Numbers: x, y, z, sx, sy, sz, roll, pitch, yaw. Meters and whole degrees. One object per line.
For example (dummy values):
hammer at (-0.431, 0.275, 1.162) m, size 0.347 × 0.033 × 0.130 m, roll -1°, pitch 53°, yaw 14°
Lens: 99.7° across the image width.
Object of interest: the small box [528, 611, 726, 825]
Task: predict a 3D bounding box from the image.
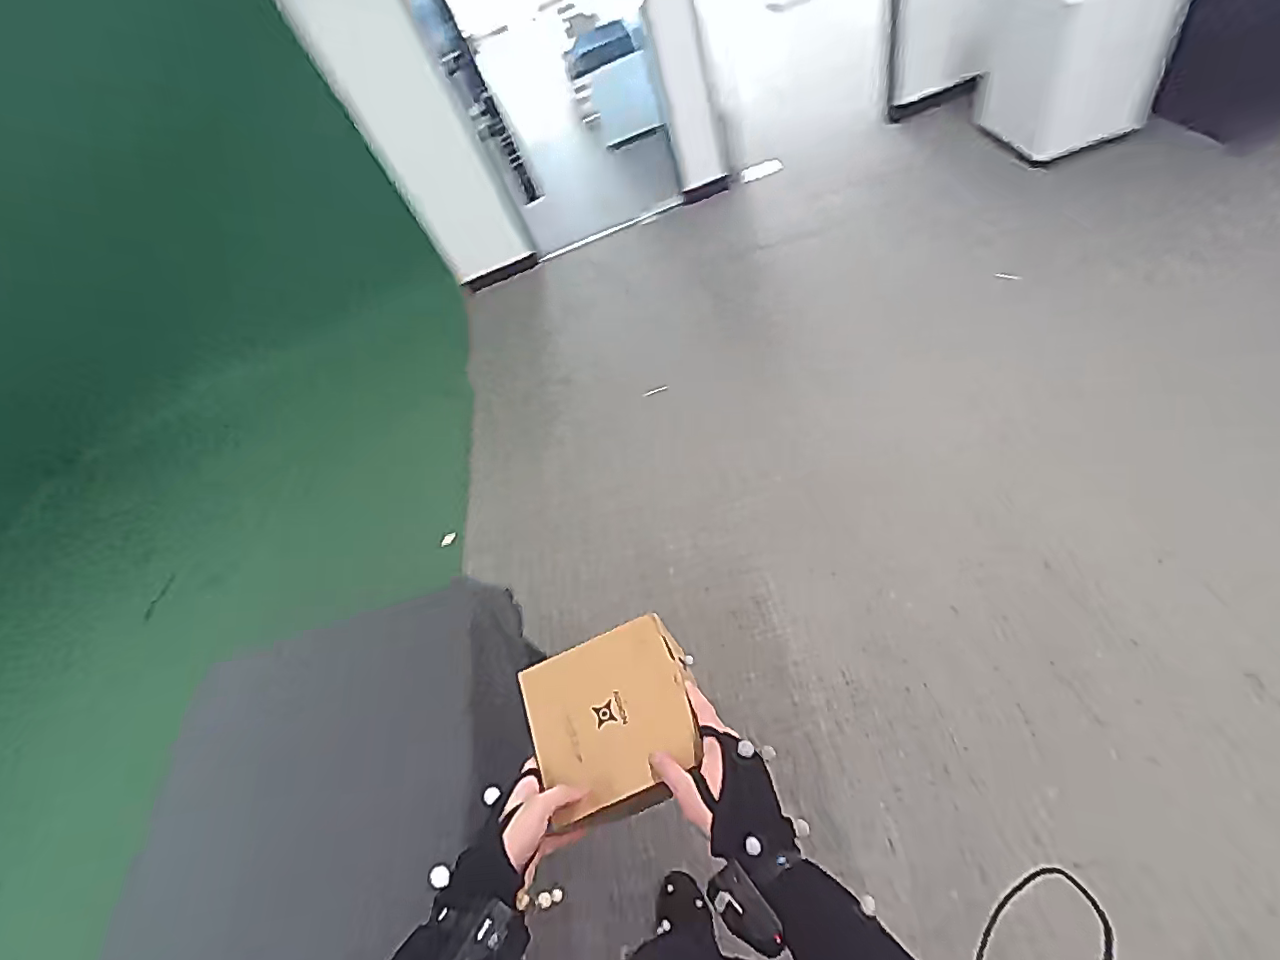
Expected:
small box at (-0.008, 0.282, 0.631) m, size 0.179 × 0.176 × 0.168 m, roll -22°, pitch 53°, yaw 2°
